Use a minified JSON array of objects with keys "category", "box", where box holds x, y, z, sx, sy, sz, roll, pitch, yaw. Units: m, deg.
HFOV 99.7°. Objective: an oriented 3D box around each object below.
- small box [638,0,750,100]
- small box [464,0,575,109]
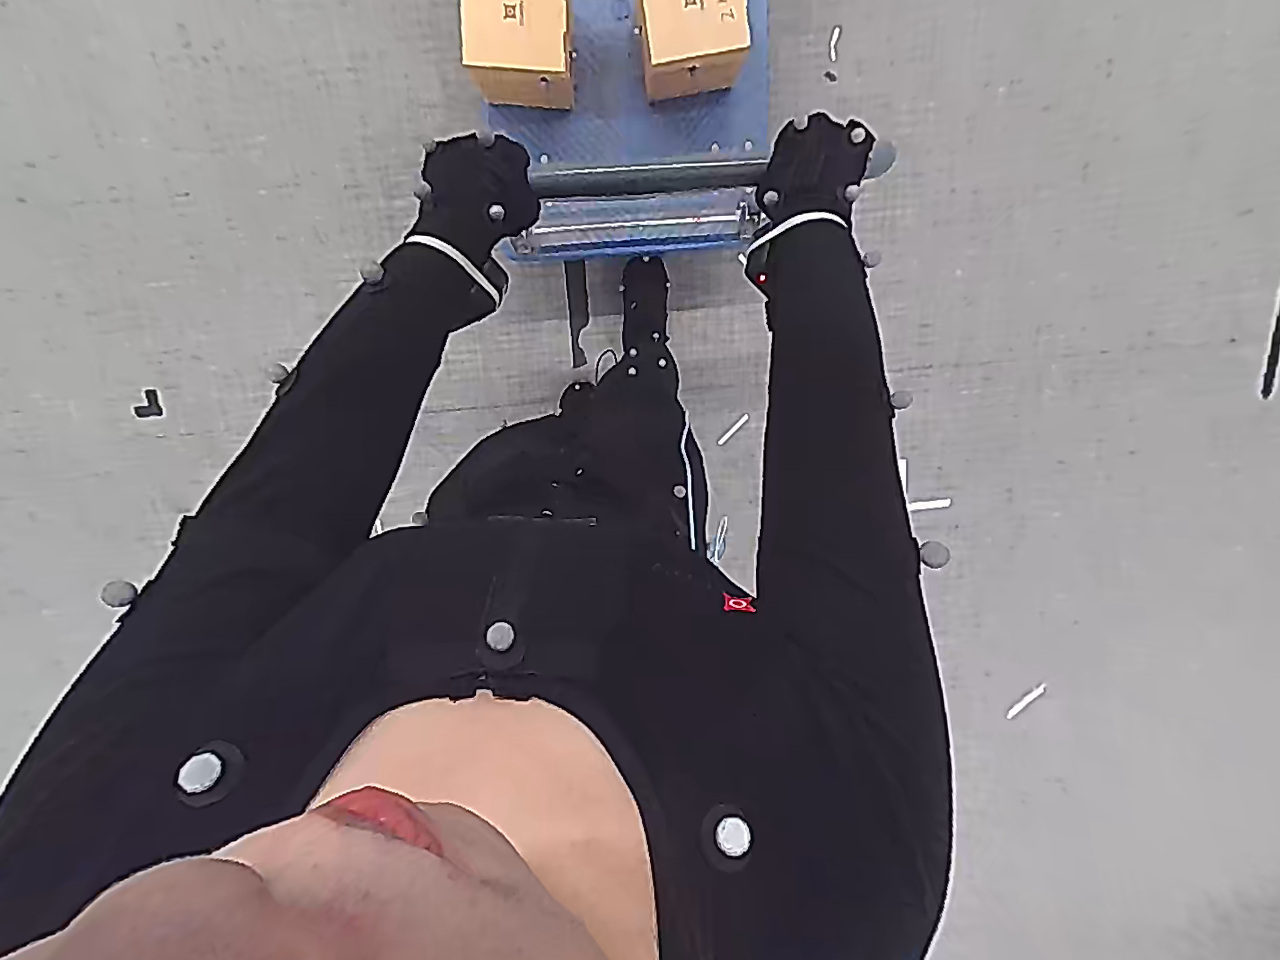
[{"category":"small box","box":[0.091,-0.826,0.987,0.179,0.176,0.168,-9,107,1]},{"category":"small box","box":[-0.212,-0.803,0.984,0.179,0.176,0.168,1,106,-4]}]
